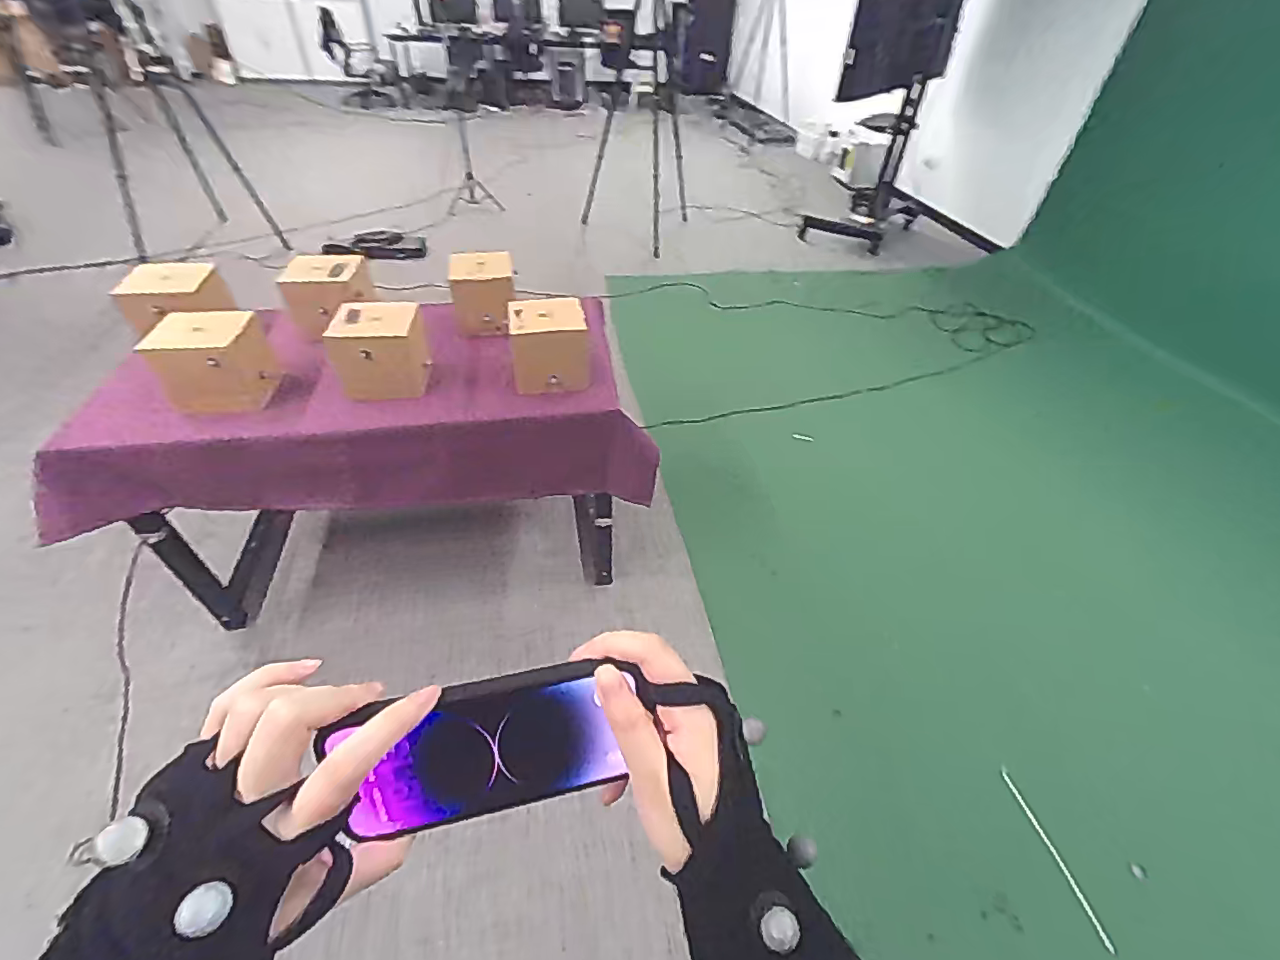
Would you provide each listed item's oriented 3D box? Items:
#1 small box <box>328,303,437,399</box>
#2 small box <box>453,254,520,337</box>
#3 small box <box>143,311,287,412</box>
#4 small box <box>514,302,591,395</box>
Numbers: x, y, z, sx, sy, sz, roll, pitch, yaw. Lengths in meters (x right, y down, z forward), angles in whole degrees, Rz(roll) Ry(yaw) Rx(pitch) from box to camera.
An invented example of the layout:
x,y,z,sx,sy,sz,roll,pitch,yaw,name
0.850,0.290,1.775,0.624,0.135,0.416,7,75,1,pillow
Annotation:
x,y,z,sx,sy,sz,roll,pitch,yaw,name
-0.604,-0.307,1.292,0.179,0.176,0.168,-2,44,-7,small box
-0.426,-0.521,1.529,0.168,0.176,0.179,-7,45,-10,small box
-0.948,-0.267,1.227,0.179,0.176,0.168,-3,44,-9,small box
-0.217,-0.325,1.337,0.179,0.176,0.168,-5,44,-10,small box
